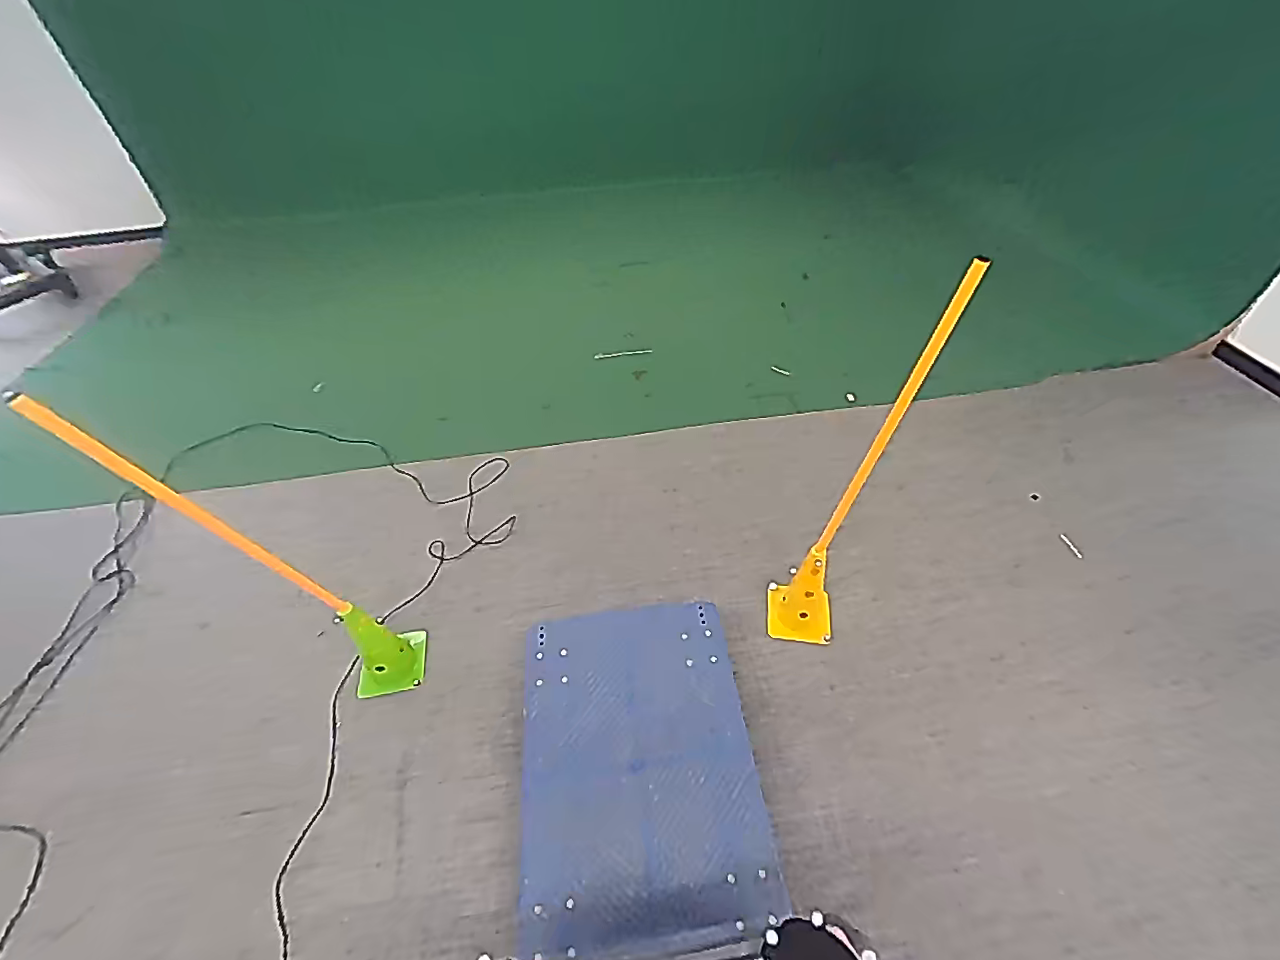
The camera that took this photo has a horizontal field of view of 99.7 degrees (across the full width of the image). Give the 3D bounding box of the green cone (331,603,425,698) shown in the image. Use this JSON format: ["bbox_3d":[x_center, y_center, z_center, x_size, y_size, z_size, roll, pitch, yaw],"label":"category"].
[{"bbox_3d":[-0.812,0.472,1.619,0.202,0.368,0.200,-12,47,-4],"label":"green cone"}]
